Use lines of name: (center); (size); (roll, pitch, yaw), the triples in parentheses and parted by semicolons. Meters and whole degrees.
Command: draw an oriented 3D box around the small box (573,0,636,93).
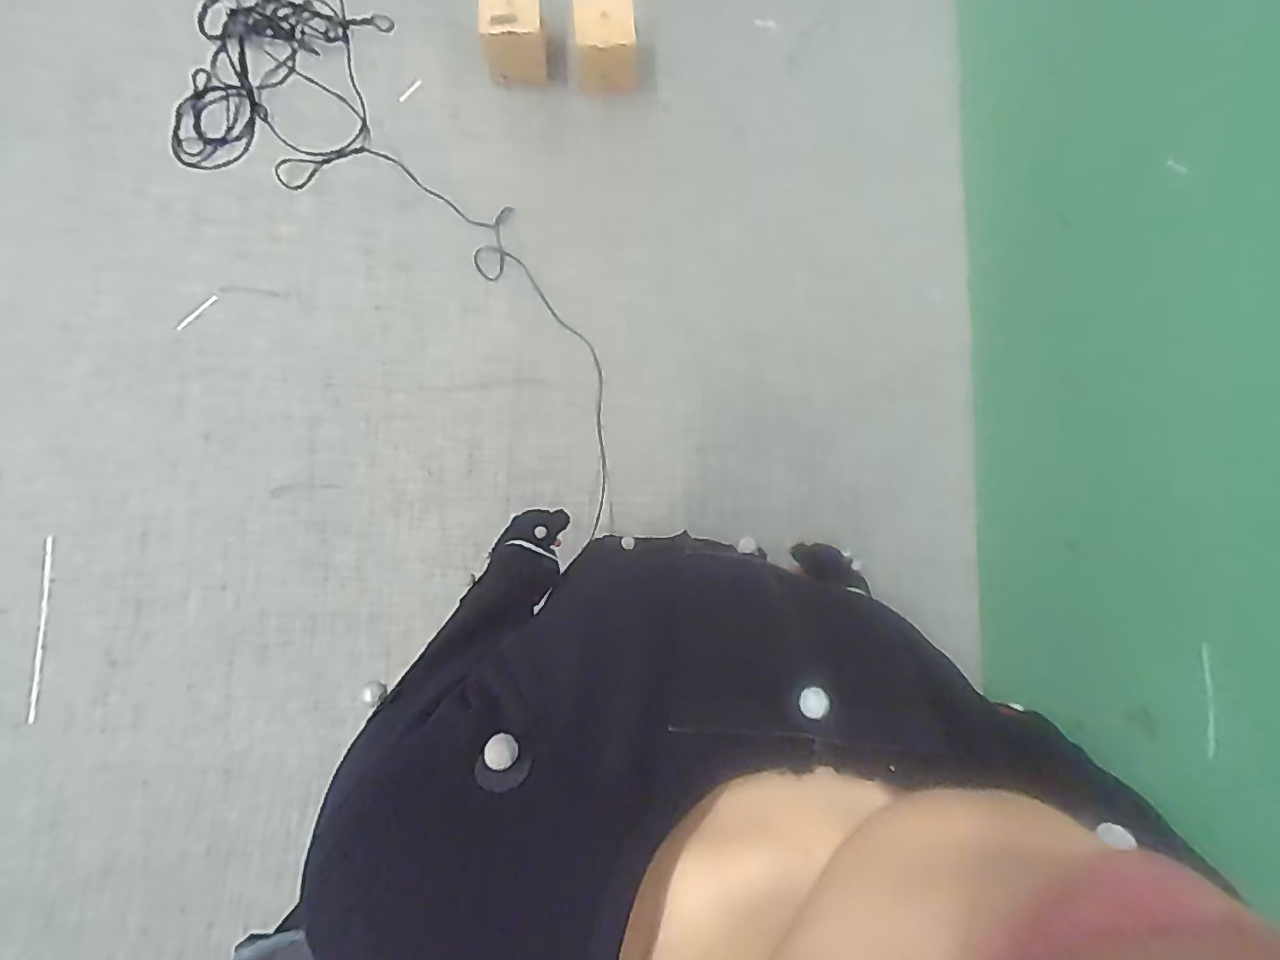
small box: (-0.103, -1.248, 1.537); (0.168, 0.176, 0.179); (-5, 86, -3)

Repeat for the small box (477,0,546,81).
small box: (-0.357, -1.269, 1.525); (0.168, 0.176, 0.179); (-2, 84, -3)
